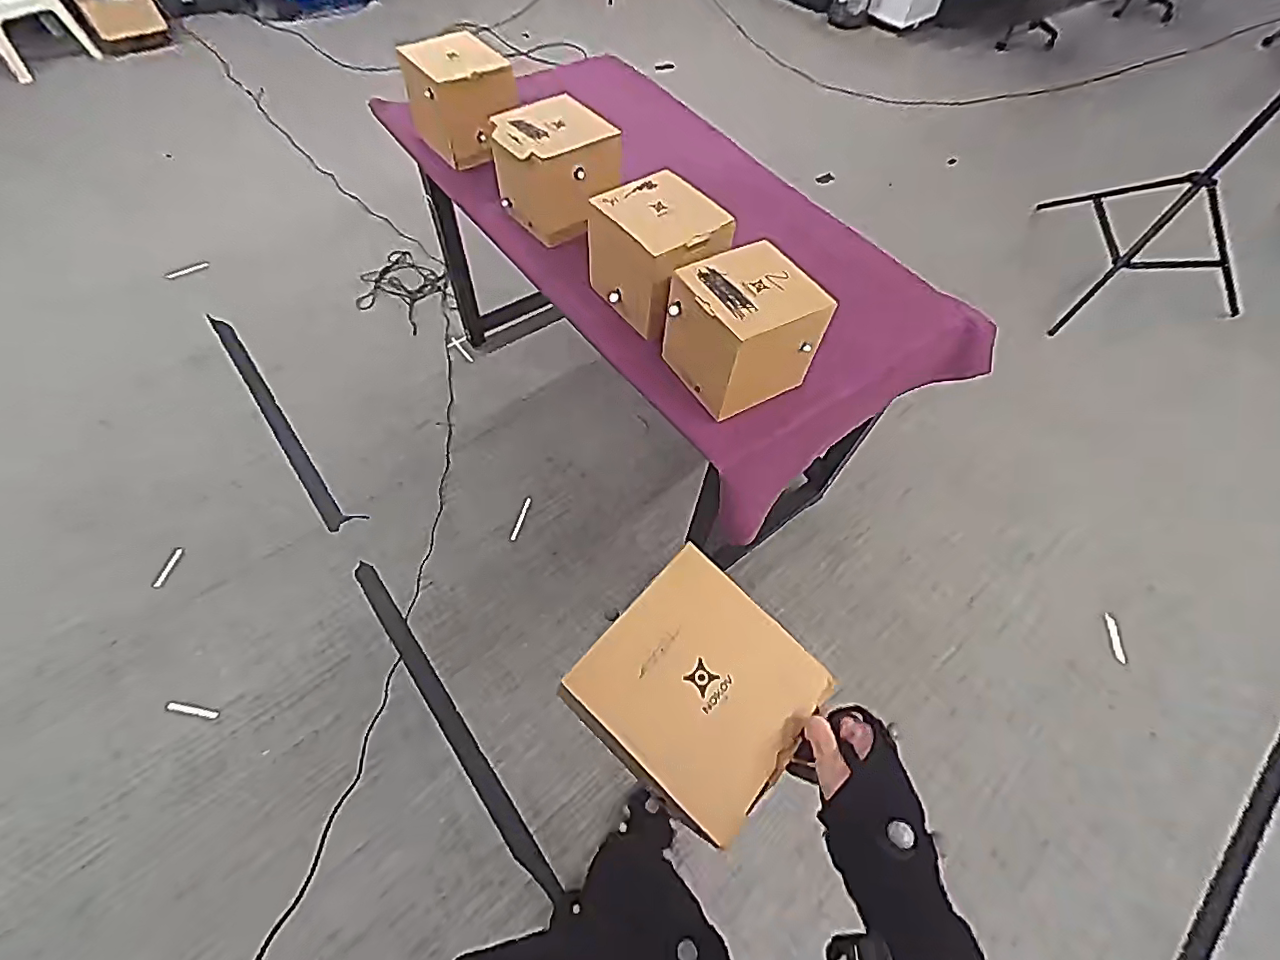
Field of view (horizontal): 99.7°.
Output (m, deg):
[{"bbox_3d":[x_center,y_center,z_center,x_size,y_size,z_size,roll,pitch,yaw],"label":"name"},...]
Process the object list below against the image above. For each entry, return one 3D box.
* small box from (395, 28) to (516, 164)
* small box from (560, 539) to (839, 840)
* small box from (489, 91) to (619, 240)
[{"bbox_3d":[-0.375,-0.799,1.130,0.168,0.176,0.179,-35,68,-22],"label":"small box"},{"bbox_3d":[0.042,0.190,0.513,0.179,0.176,0.168,41,65,9],"label":"small box"},{"bbox_3d":[-0.155,-0.586,1.018,0.179,0.176,0.168,-35,68,-23],"label":"small box"}]
